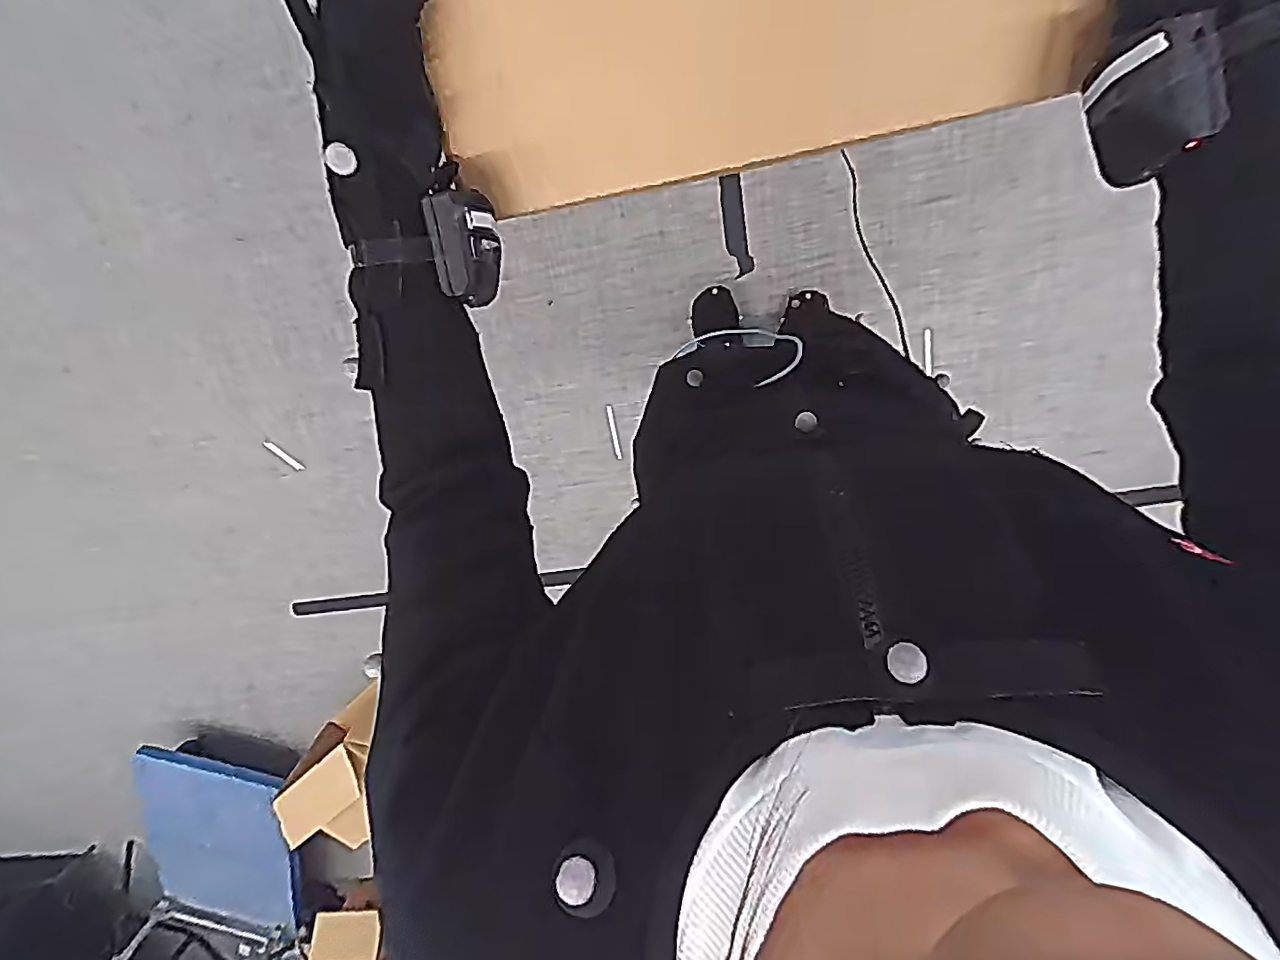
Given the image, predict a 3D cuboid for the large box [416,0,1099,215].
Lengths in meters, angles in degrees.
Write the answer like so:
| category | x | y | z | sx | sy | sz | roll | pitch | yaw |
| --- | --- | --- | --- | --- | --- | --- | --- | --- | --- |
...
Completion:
| category | x | y | z | sx | sy | sz | roll | pitch | yaw |
| --- | --- | --- | --- | --- | --- | --- | --- | --- | --- |
| large box | 0.056 | -0.421 | 0.421 | 0.408 | 0.320 | 0.320 | -8 | 118 | 8 |
